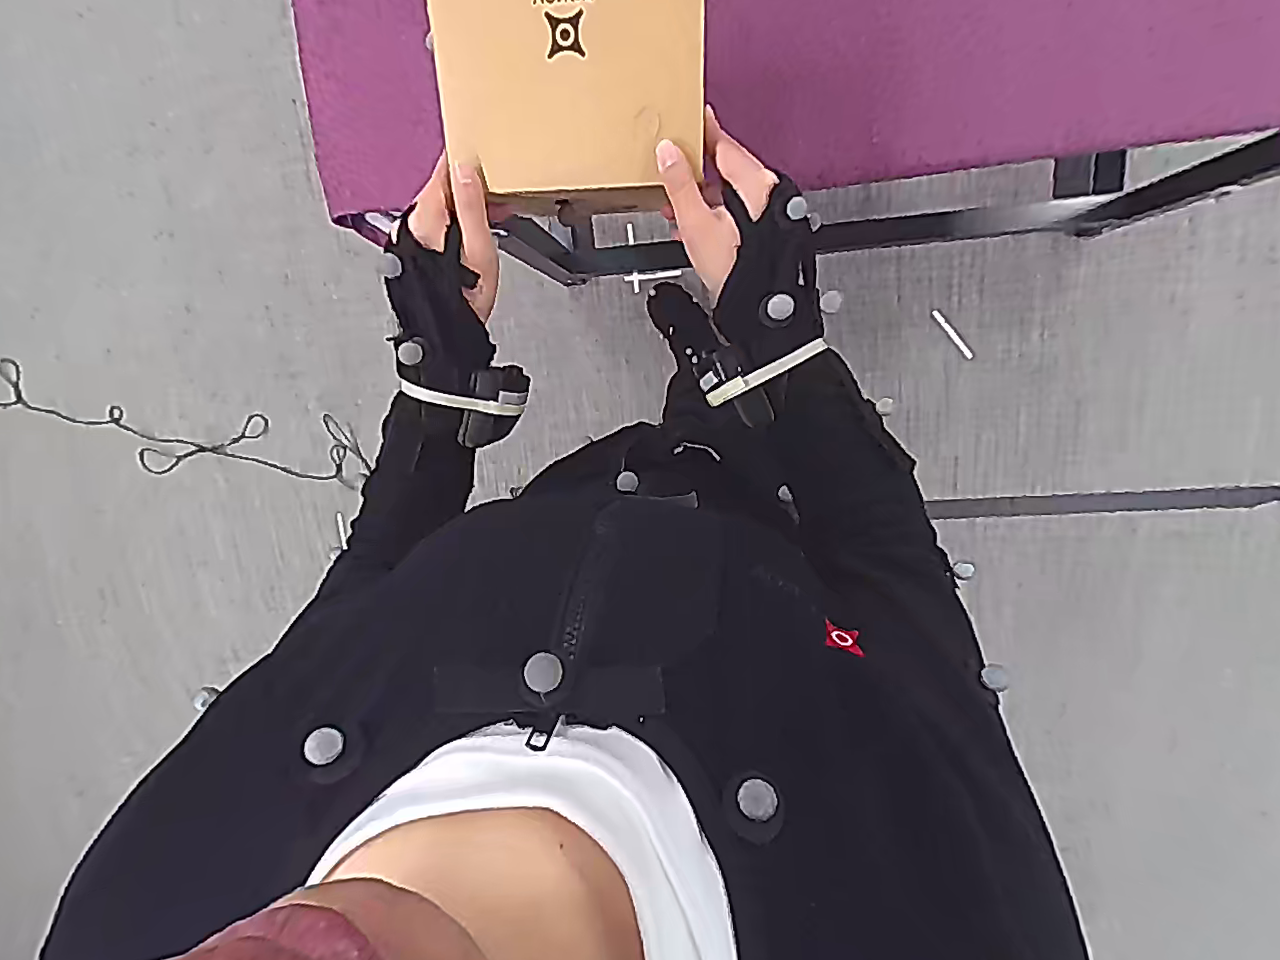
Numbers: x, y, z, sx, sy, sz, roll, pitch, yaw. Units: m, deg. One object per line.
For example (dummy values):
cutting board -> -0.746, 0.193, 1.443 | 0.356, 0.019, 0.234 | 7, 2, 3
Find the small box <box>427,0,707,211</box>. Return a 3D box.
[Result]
small box -> -0.036, -0.298, 0.390 | 0.168, 0.176, 0.179 | 0, 110, 6
